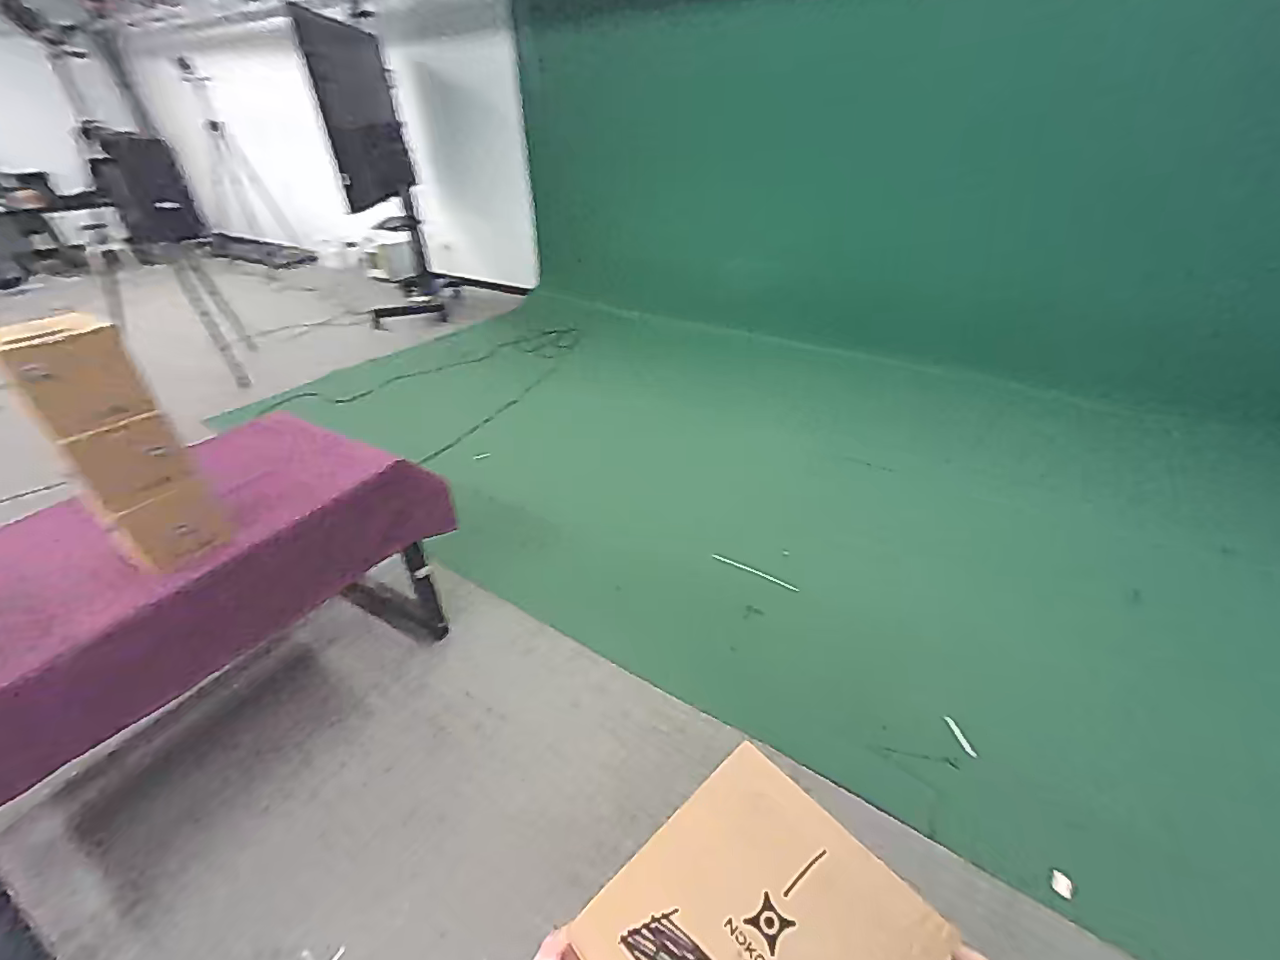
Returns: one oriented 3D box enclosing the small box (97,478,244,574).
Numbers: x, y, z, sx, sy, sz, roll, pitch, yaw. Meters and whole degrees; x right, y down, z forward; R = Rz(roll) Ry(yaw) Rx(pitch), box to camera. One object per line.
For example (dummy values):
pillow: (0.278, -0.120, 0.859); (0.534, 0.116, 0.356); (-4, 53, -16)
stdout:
small box: (-1.037, 0.085, 1.209); (0.179, 0.176, 0.168); (18, 39, 27)

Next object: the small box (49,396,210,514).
small box: (-1.046, -0.051, 1.120); (0.179, 0.176, 0.168); (19, 39, 29)
